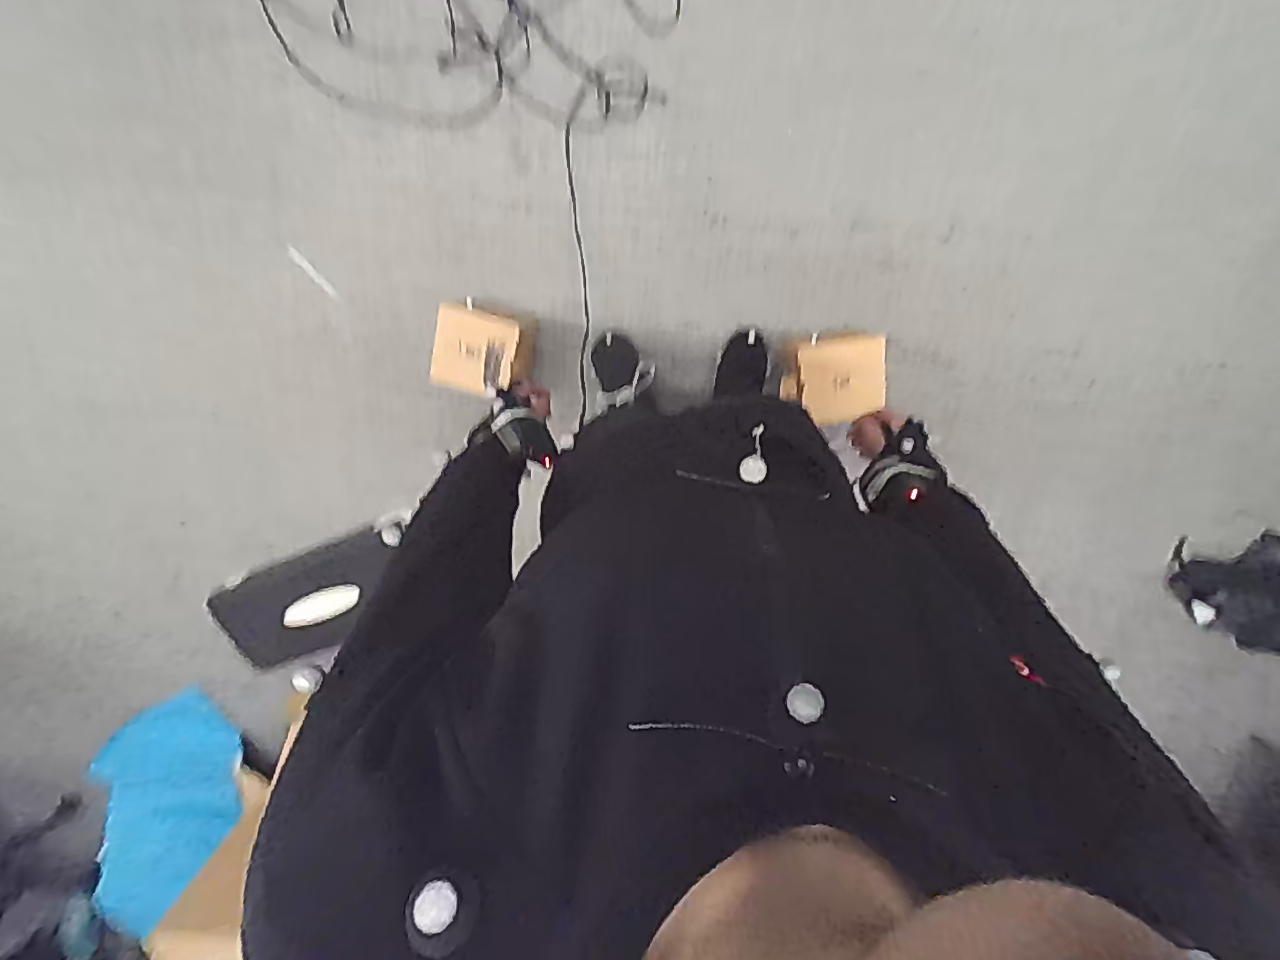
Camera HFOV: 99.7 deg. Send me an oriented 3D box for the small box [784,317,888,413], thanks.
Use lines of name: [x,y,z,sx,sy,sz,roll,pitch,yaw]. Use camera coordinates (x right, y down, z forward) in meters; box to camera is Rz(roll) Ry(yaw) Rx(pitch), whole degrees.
small box: [0.426,-0.259,1.193,0.179,0.176,0.168,-7,112,7]
